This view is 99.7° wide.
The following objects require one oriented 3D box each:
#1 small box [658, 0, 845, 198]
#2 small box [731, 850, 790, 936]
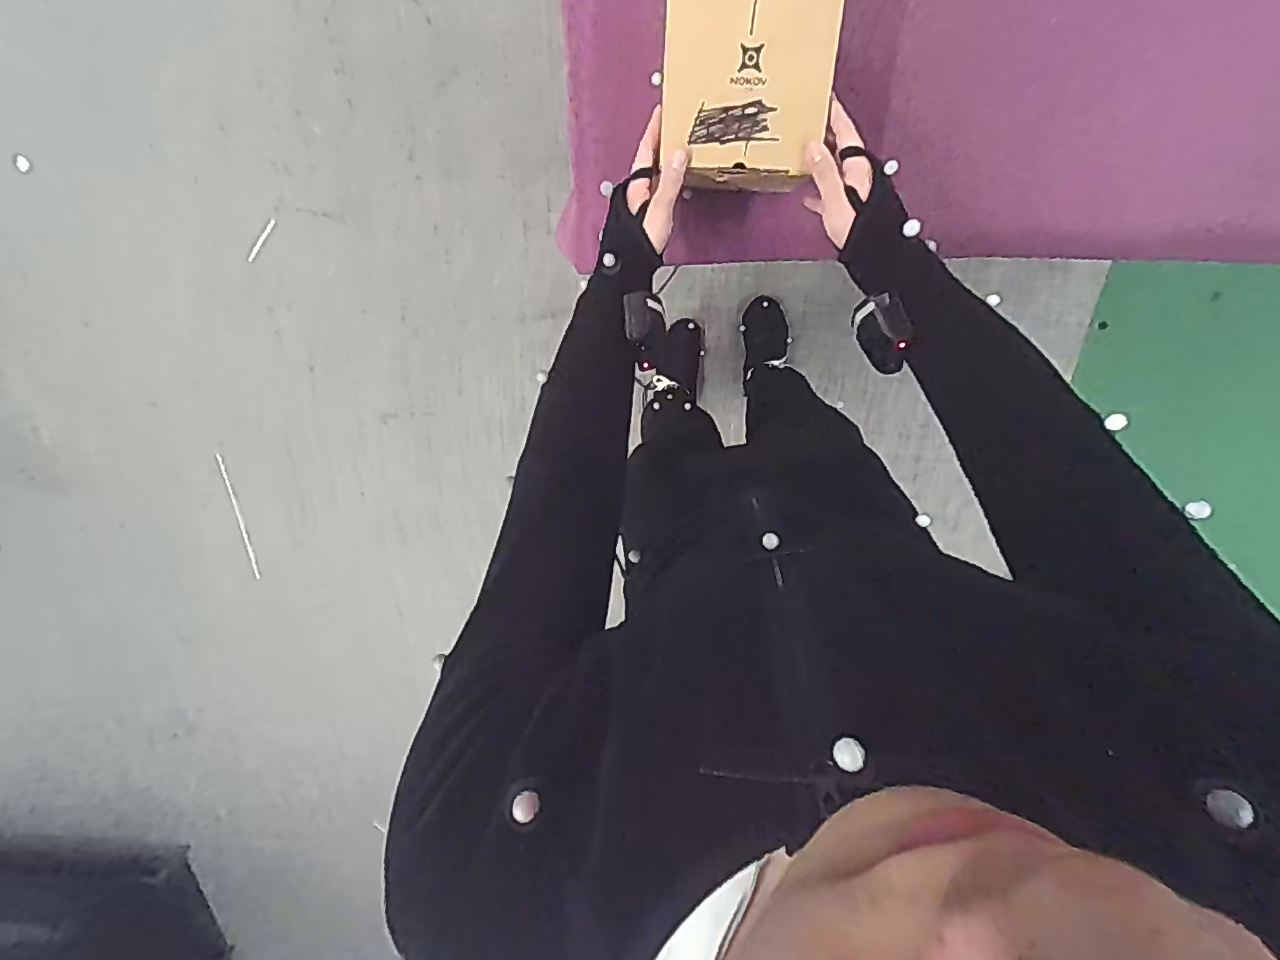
[{"bbox_3d":[0.109,-0.418,0.597,0.168,0.176,0.179,3,112,2],"label":"small box"},{"bbox_3d":[0.417,1.453,1.907,0.168,0.176,0.179,6,112,1],"label":"small box"}]
